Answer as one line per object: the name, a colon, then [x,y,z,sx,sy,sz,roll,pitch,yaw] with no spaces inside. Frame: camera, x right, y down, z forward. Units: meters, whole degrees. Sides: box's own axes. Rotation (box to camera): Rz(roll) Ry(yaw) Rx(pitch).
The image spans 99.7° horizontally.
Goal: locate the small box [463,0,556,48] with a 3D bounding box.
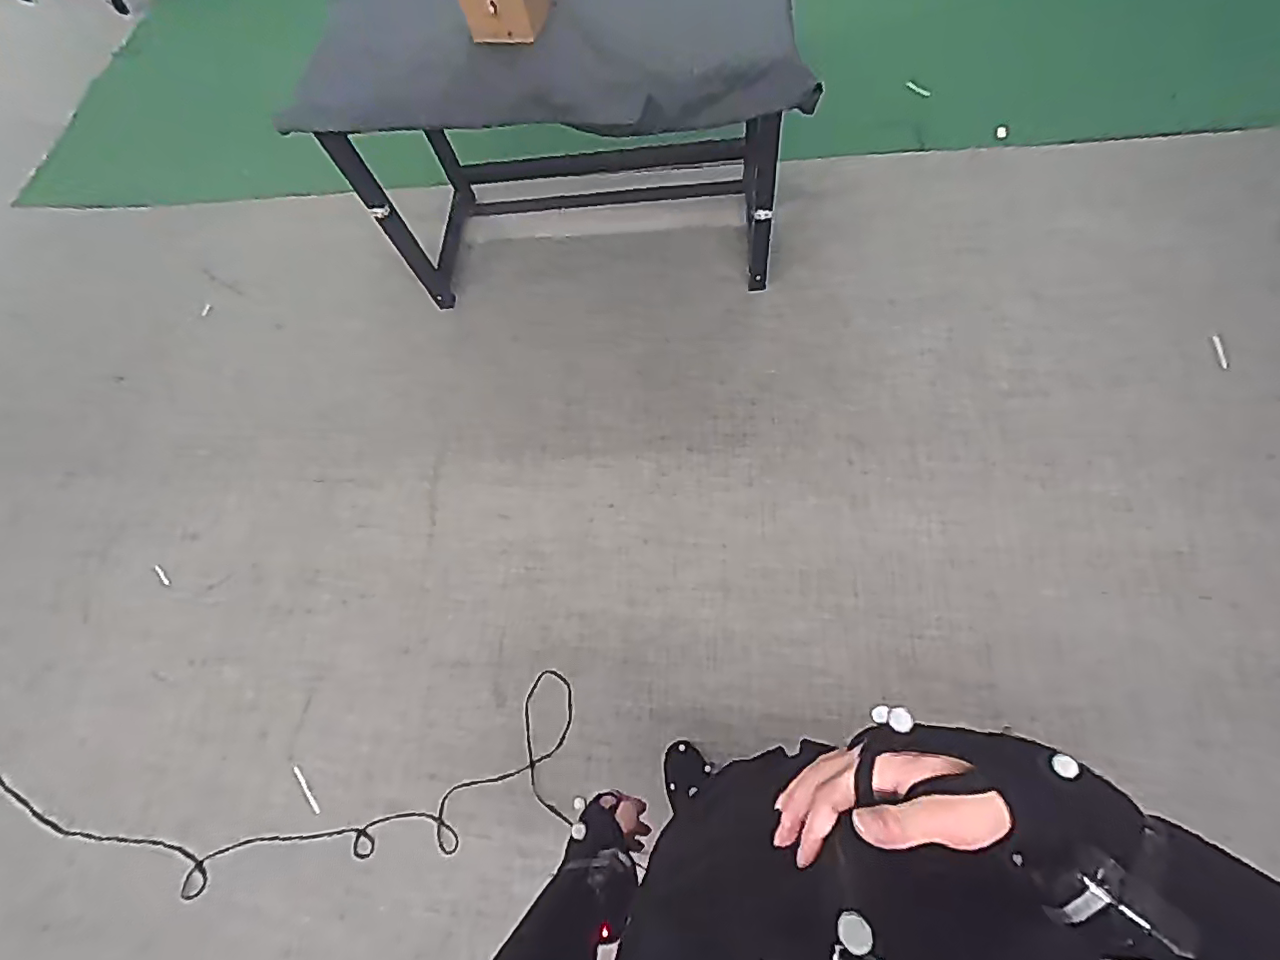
small box: [-0.314,-1.173,1.289,0.168,0.176,0.179,10,70,12]
